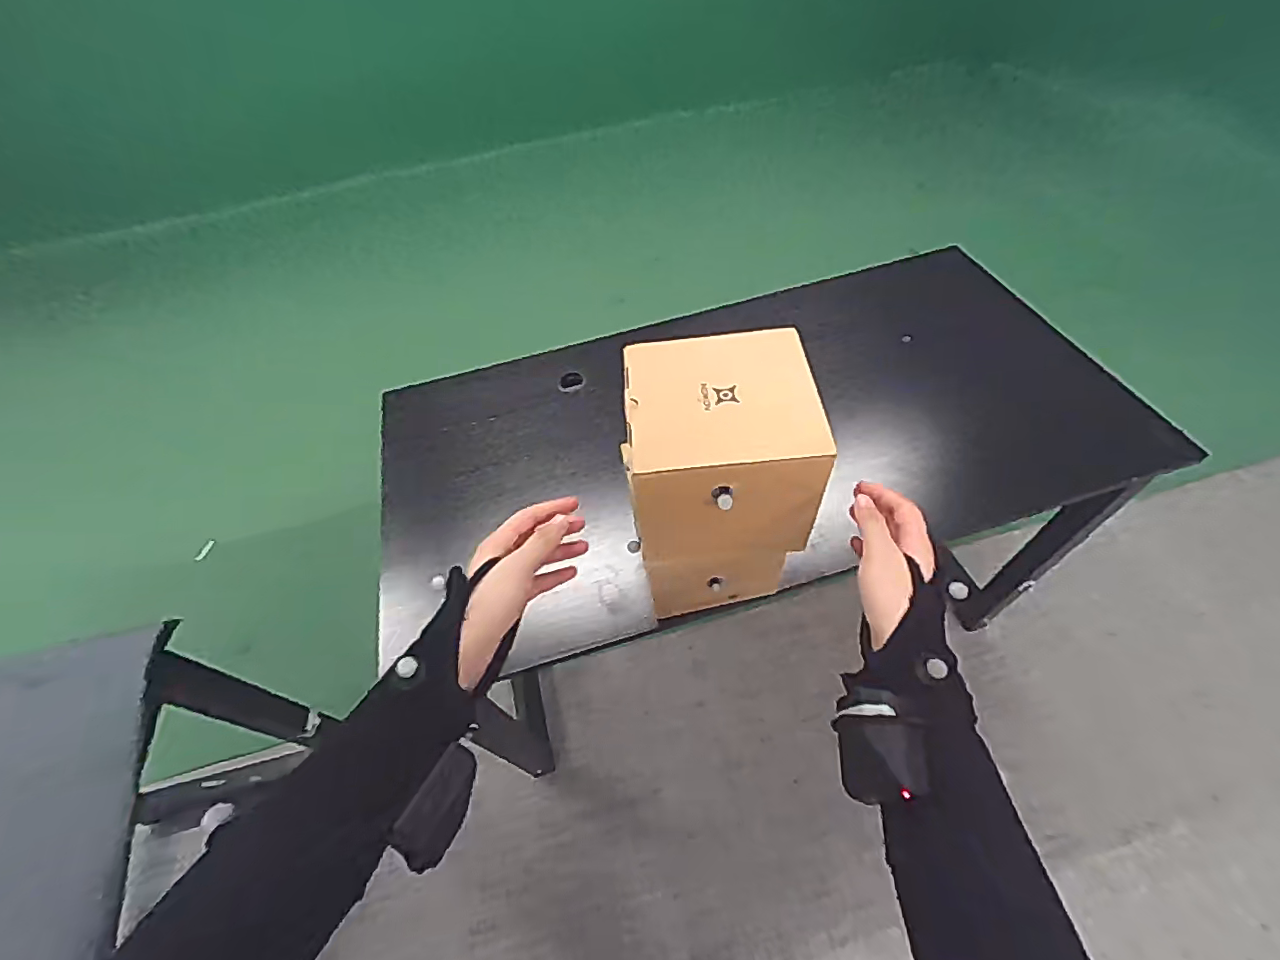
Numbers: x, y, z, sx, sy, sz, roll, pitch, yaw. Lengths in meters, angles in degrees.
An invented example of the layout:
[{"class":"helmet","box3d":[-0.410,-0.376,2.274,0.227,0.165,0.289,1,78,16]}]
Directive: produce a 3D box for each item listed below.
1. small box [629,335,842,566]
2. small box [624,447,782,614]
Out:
[{"class":"small box","box3d":[0.085,-0.025,0.561,0.179,0.176,0.168,-6,54,2]},{"class":"small box","box3d":[0.081,0.059,0.702,0.168,0.176,0.179,-12,53,-3]}]
